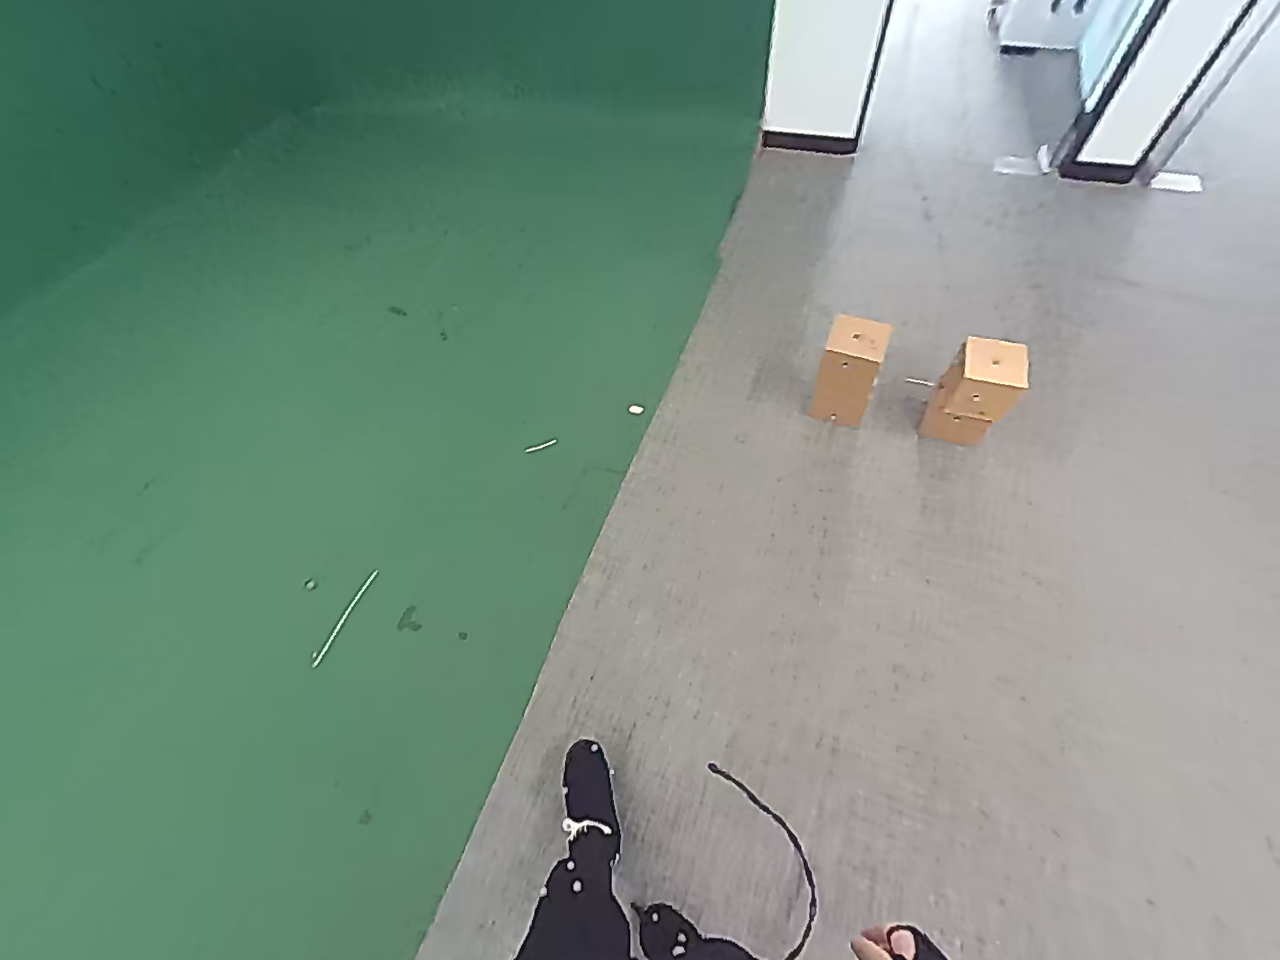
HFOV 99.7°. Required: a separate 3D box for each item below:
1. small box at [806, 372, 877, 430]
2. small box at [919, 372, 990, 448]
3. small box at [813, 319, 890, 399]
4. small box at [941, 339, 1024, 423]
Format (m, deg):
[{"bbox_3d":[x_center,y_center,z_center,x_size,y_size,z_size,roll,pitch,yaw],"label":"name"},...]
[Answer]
[{"bbox_3d":[0.694,-0.295,1.873,0.179,0.176,0.168,18,62,16],"label":"small box"},{"bbox_3d":[1.053,-0.228,1.794,0.179,0.176,0.168,17,62,14],"label":"small box"},{"bbox_3d":[0.673,-0.384,1.735,0.179,0.176,0.168,19,63,16],"label":"small box"},{"bbox_3d":[1.039,-0.298,1.648,0.168,0.176,0.179,13,60,13],"label":"small box"}]
